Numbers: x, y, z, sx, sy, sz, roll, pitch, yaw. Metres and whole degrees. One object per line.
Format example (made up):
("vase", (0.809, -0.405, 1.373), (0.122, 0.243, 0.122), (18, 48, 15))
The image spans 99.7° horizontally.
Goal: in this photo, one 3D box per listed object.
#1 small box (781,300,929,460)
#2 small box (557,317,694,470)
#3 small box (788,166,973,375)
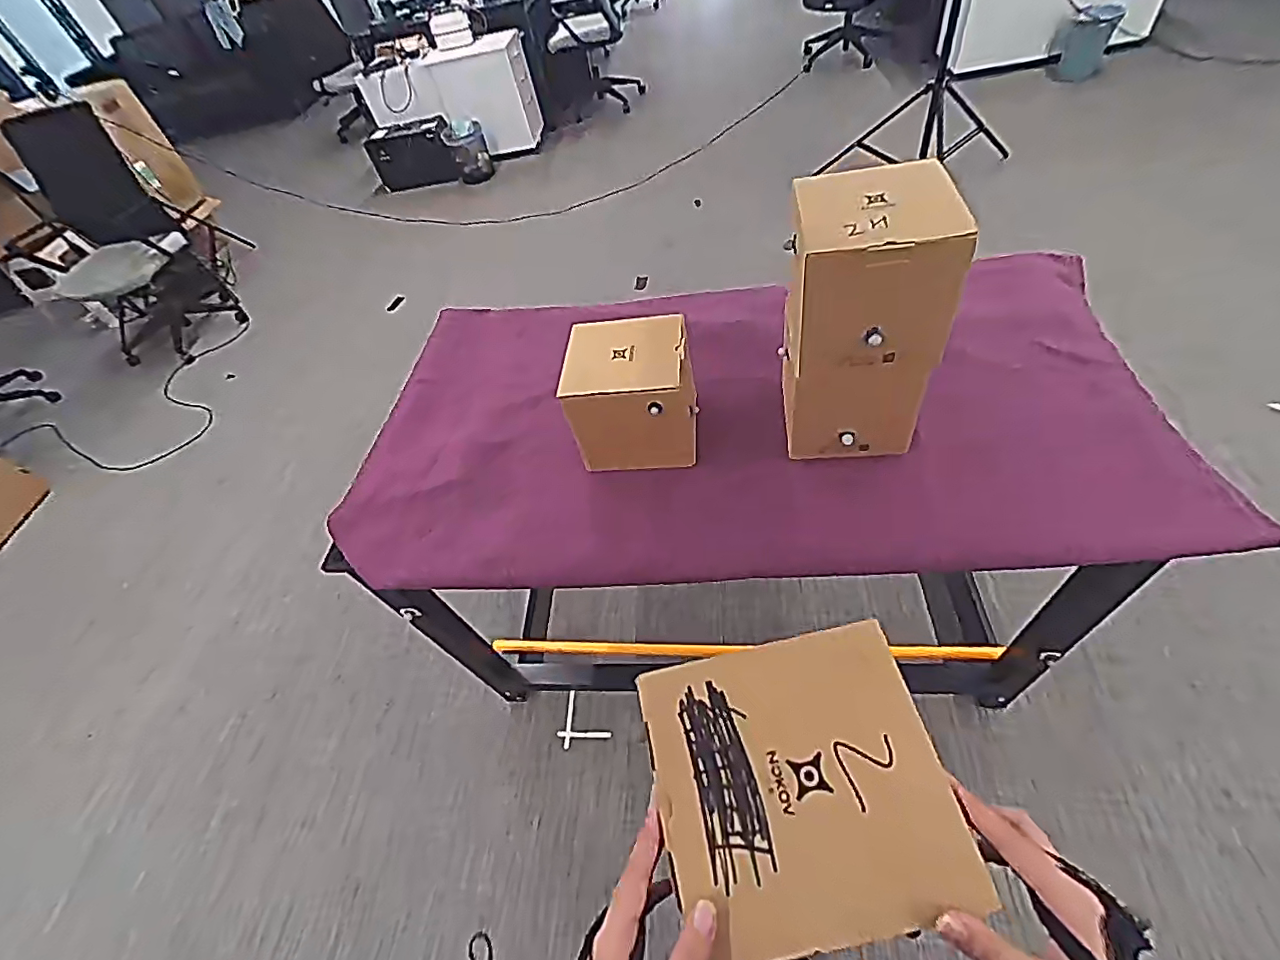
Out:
("small box", (0.297, -0.149, 0.790), (0.168, 0.176, 0.179), (-2, 52, 11))
("small box", (-0.012, -0.129, 0.844), (0.179, 0.176, 0.168), (-3, 51, 10))
("small box", (0.273, -0.251, 0.662), (0.168, 0.176, 0.179), (-3, 52, 12))
